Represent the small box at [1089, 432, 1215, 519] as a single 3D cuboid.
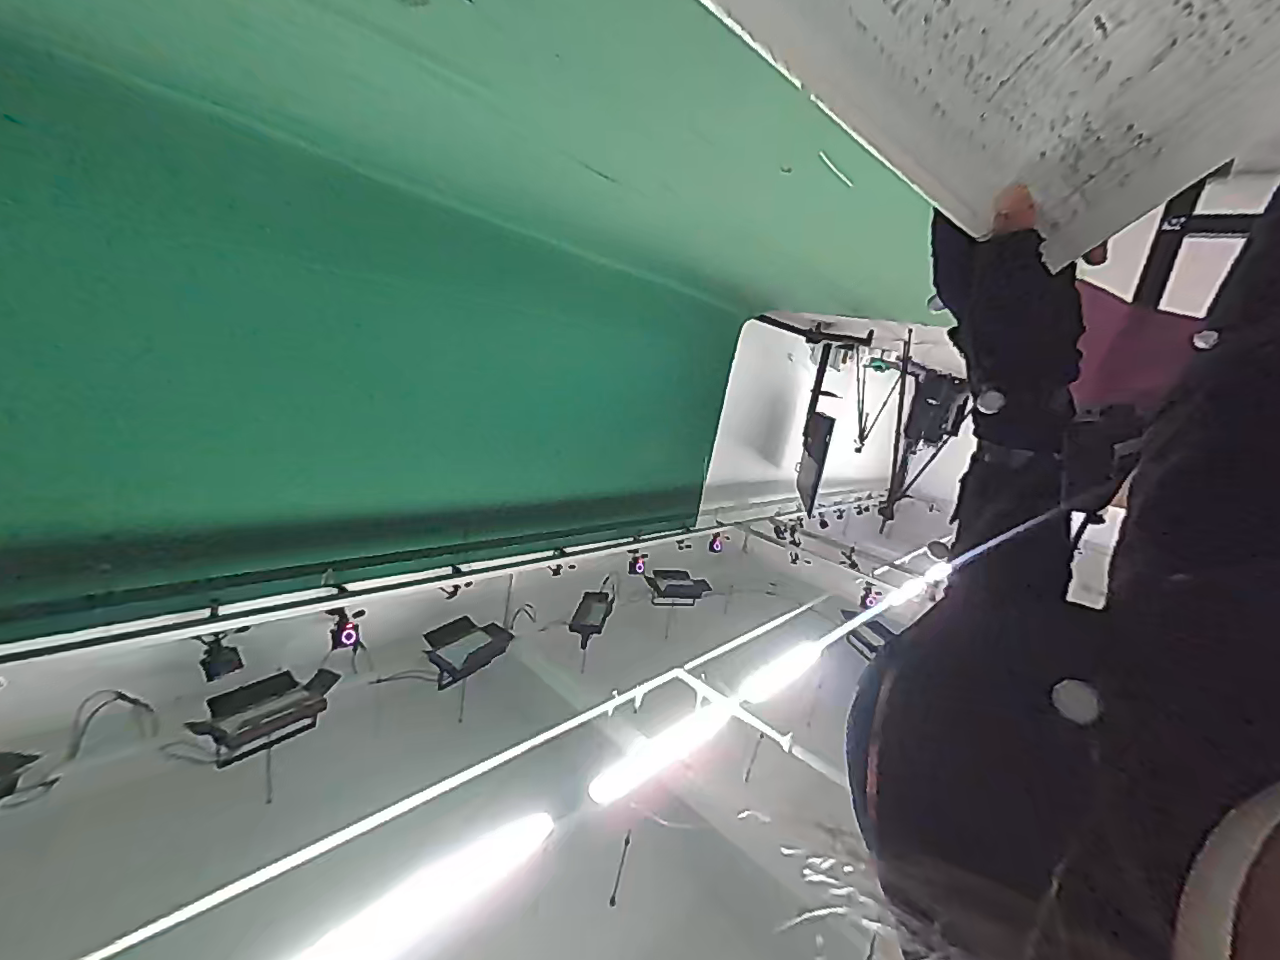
[{"bbox_3d":[1.233,-0.021,1.311,0.168,0.176,0.179,17,-166,29],"label":"small box"}]
